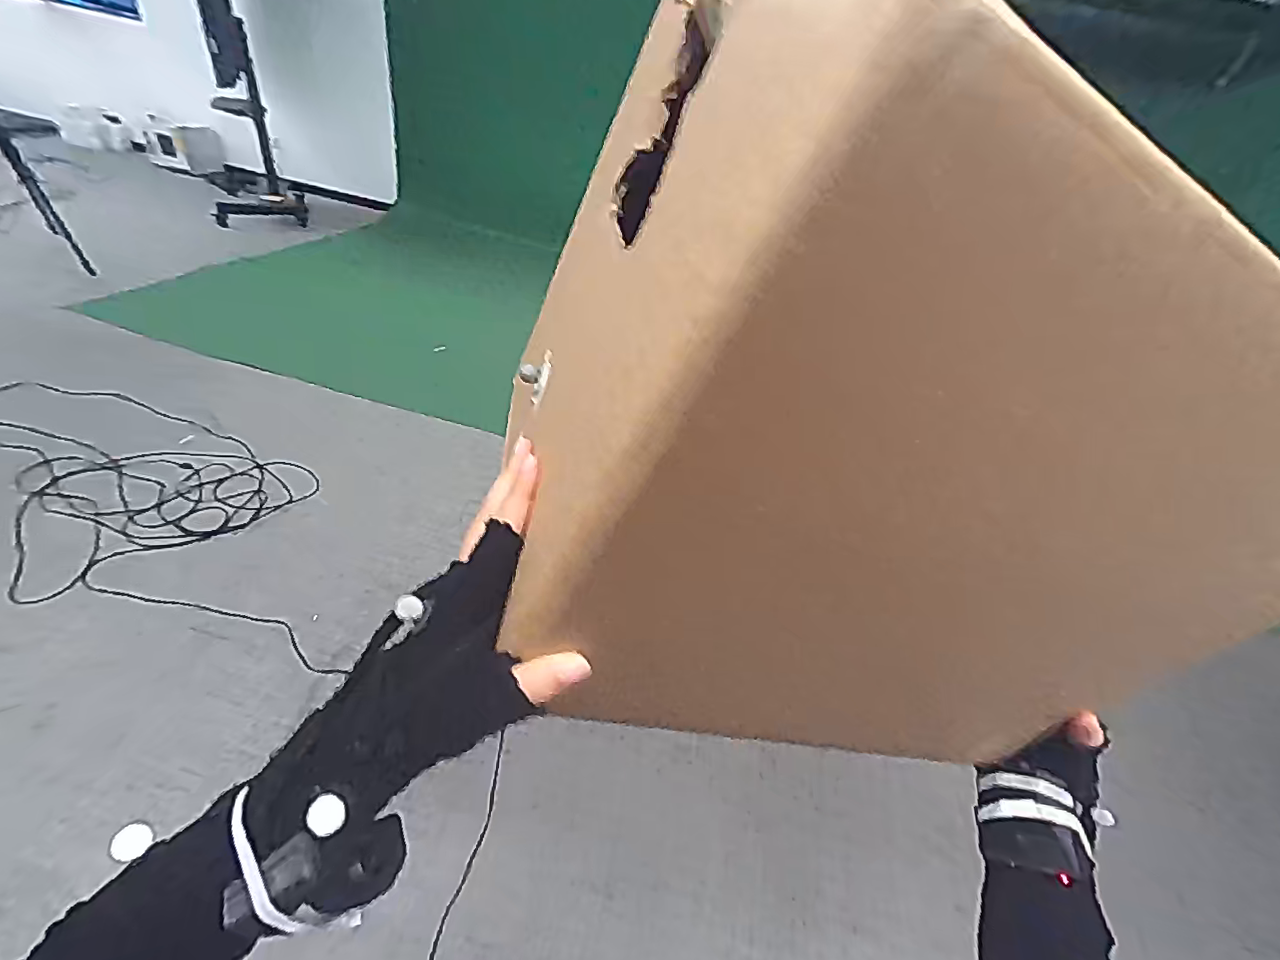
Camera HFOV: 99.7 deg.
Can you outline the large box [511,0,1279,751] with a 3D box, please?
[{"bbox_3d":[0.151,-0.036,0.384,0.408,0.320,0.320,18,37,-23],"label":"large box"}]
